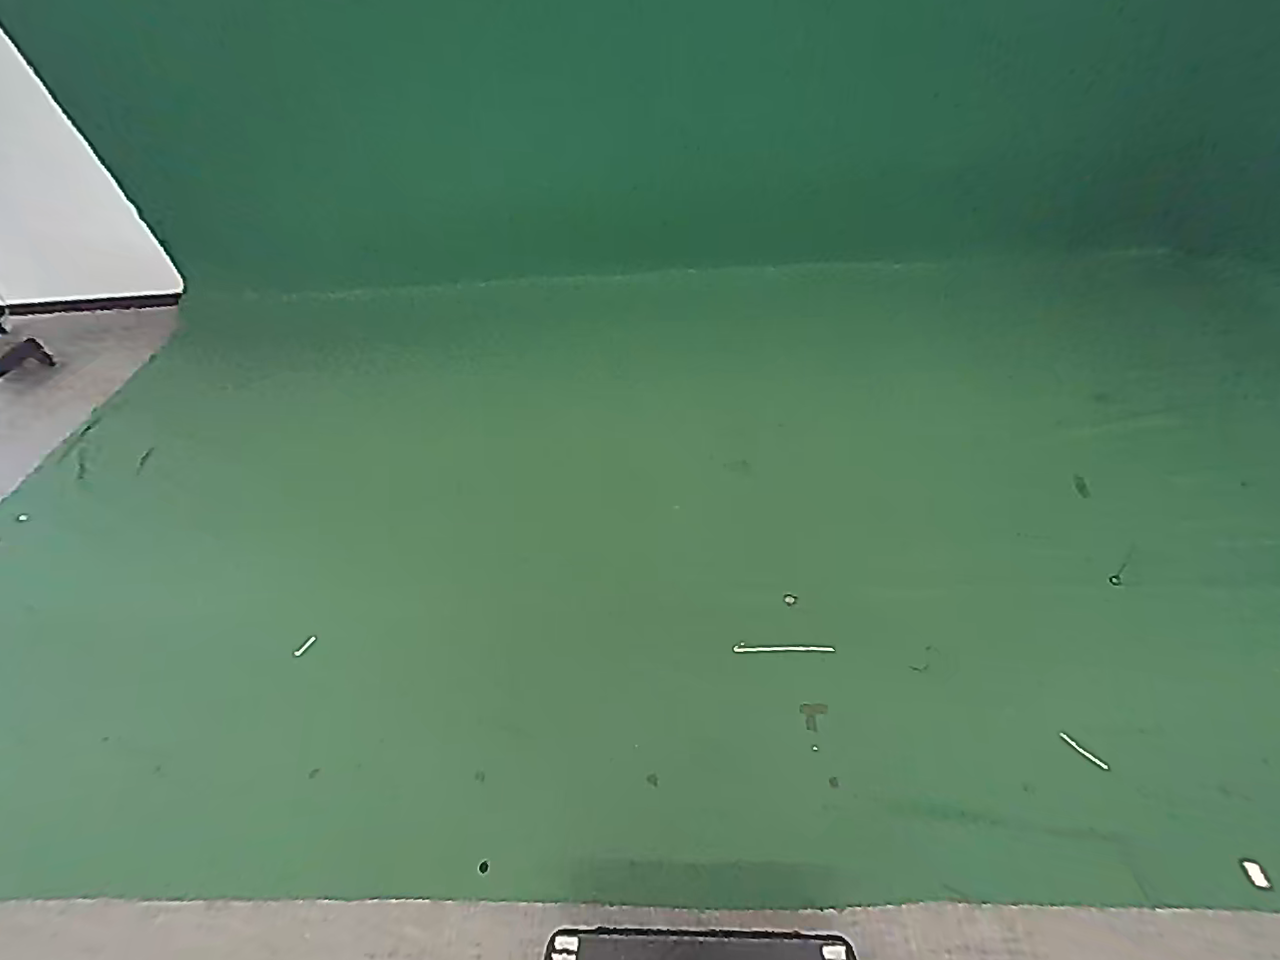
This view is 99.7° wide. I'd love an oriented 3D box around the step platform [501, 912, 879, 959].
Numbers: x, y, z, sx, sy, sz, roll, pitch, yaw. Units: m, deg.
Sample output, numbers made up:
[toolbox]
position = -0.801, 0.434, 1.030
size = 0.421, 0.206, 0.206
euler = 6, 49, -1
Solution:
[step platform]
position = 0.090, 0.968, 0.974
size = 0.684, 0.204, 0.286
euler = -2, 48, 3
